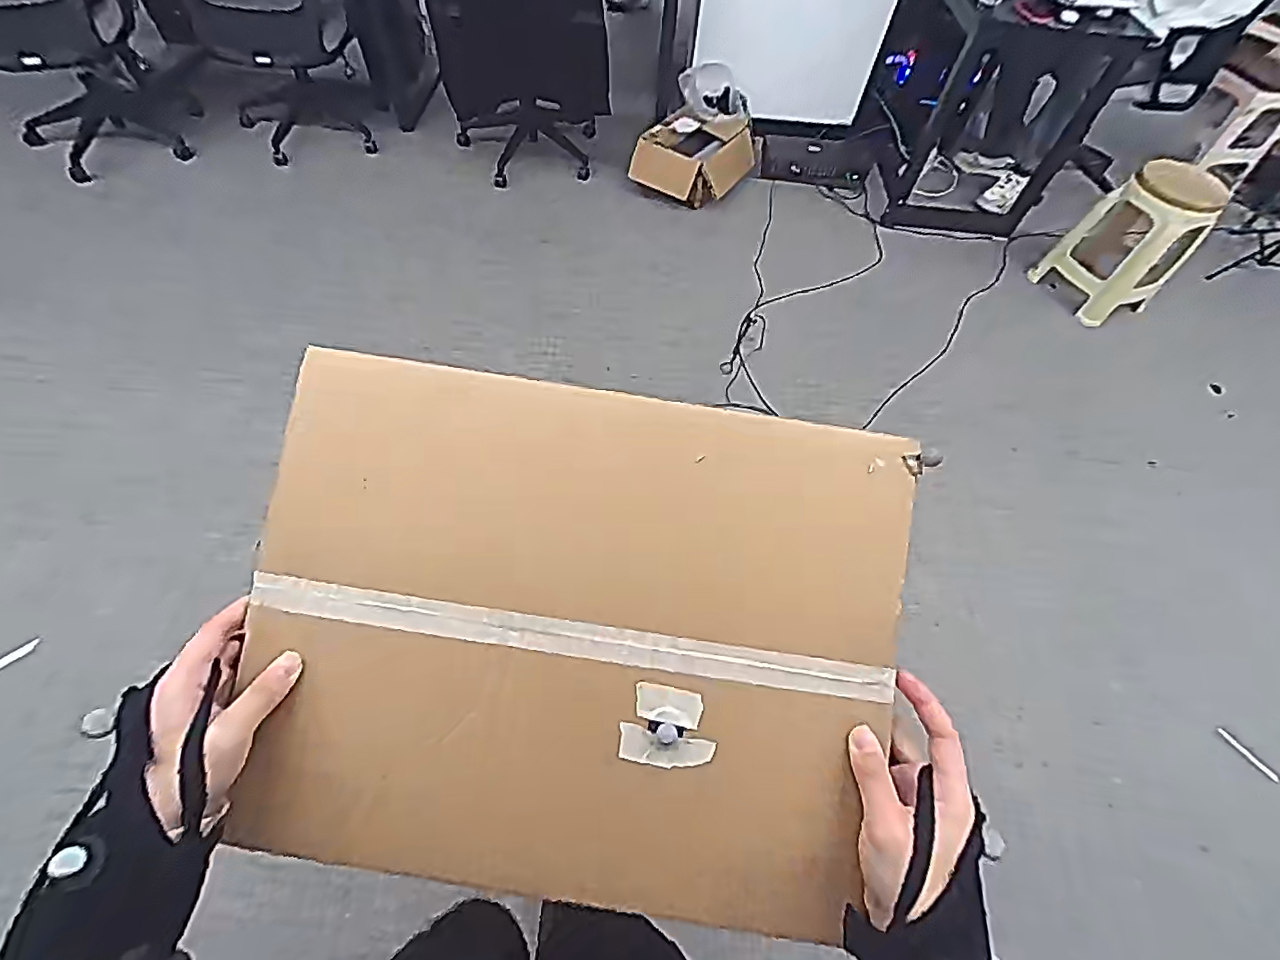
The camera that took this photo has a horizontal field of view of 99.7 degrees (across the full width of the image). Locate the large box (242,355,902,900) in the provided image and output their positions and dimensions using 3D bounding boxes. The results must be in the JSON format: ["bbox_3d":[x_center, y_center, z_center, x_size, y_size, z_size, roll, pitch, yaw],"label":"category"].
[{"bbox_3d":[-0.040,0.103,0.503,0.408,0.320,0.320,9,86,0],"label":"large box"}]
